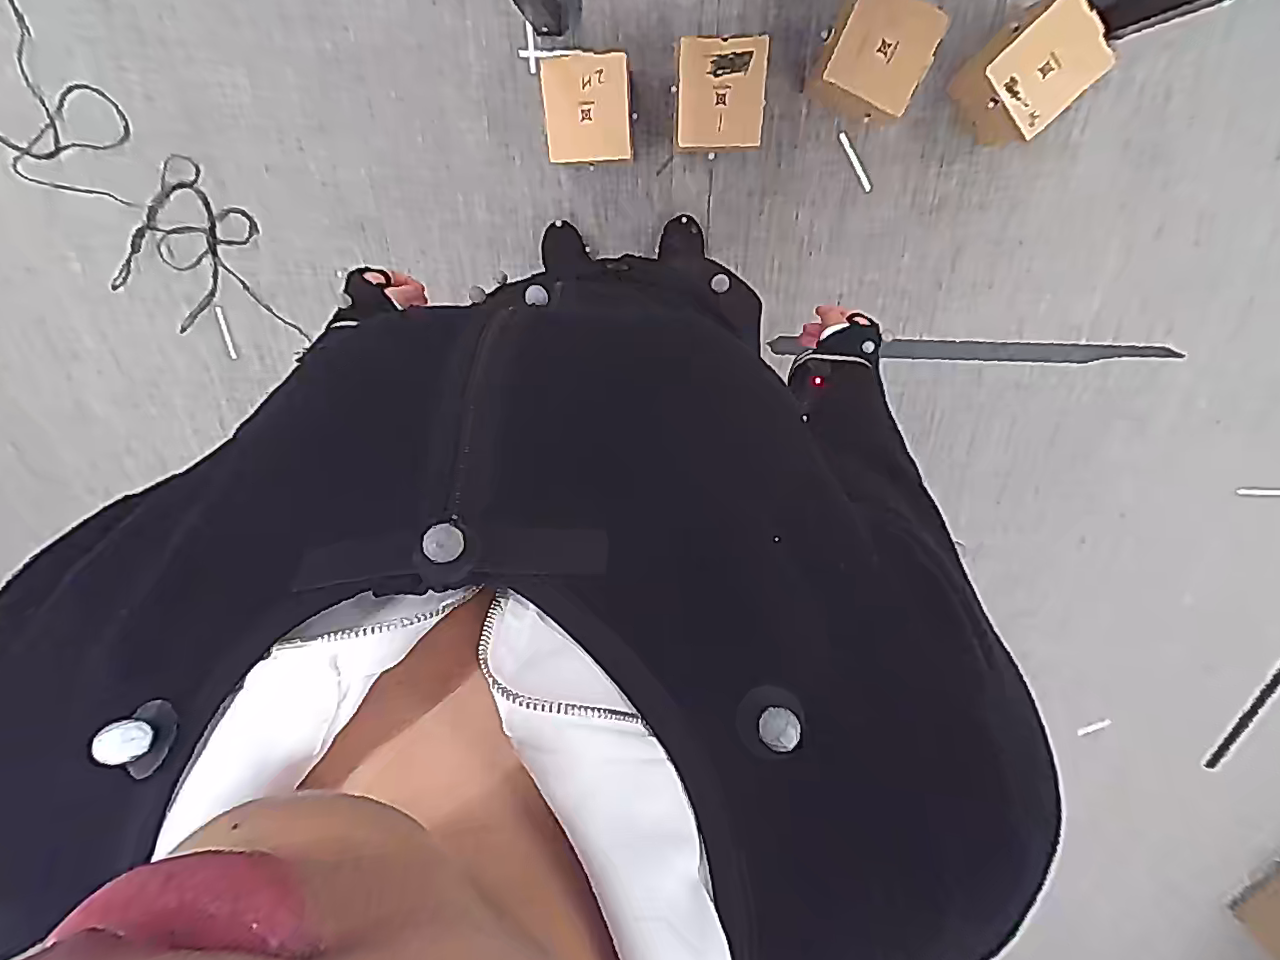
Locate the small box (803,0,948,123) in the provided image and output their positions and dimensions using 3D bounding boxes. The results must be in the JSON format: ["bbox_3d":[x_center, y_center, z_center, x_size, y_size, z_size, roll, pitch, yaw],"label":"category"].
[{"bbox_3d":[0.451,-0.830,1.065,0.179,0.176,0.168,20,116,-7],"label":"small box"}]

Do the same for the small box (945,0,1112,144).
[{"bbox_3d":[0.752,-0.802,1.066,0.168,0.176,0.179,41,112,-17],"label":"small box"}]

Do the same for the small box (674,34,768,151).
[{"bbox_3d":[0.156,-0.777,1.101,0.168,0.176,0.179,1,119,2],"label":"small box"}]
